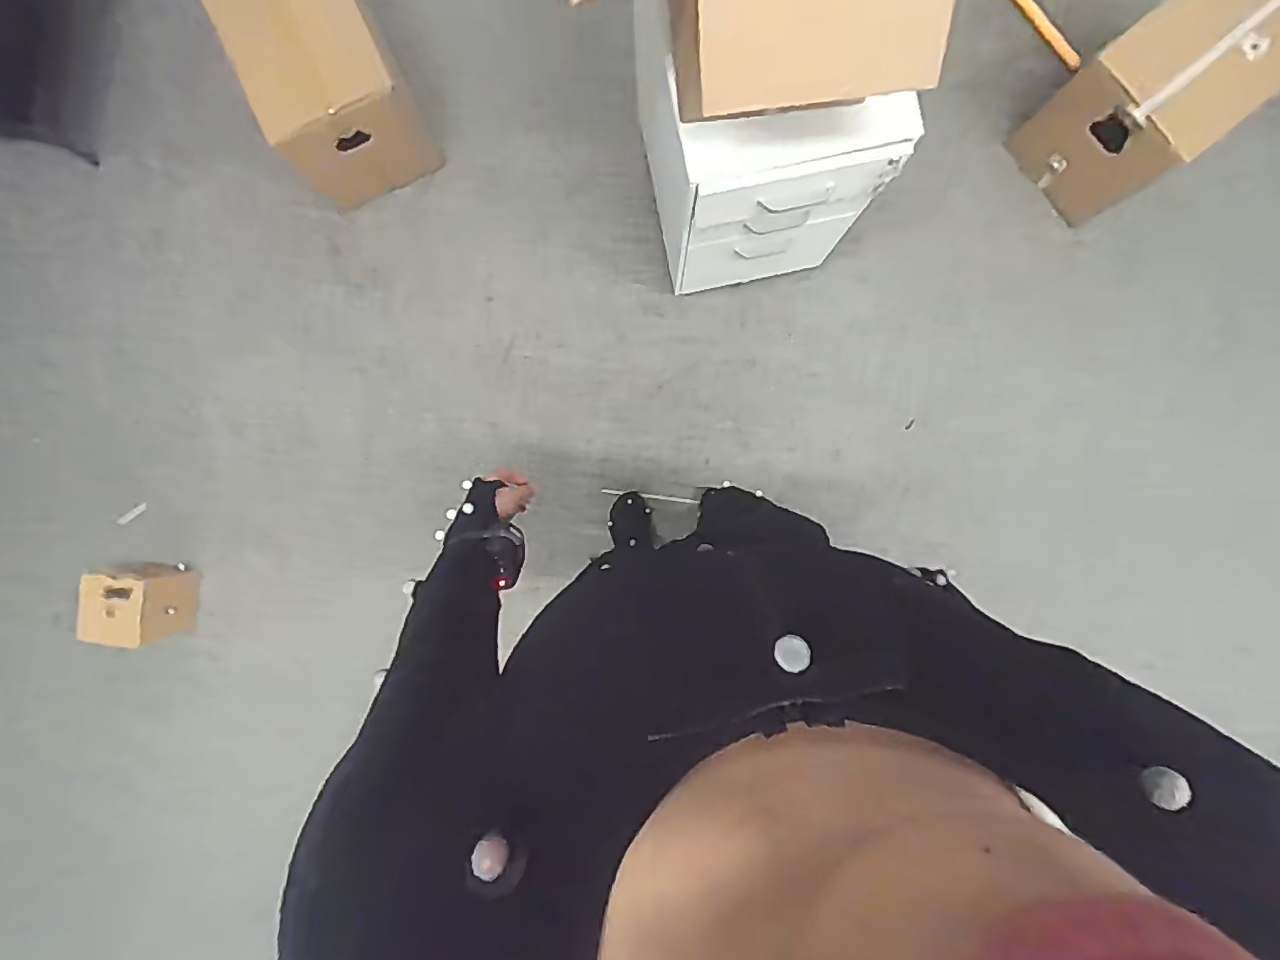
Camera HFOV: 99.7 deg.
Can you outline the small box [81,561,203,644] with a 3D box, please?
[{"bbox_3d":[-1.324,0.320,1.449,0.168,0.176,0.179,8,90,1],"label":"small box"}]
